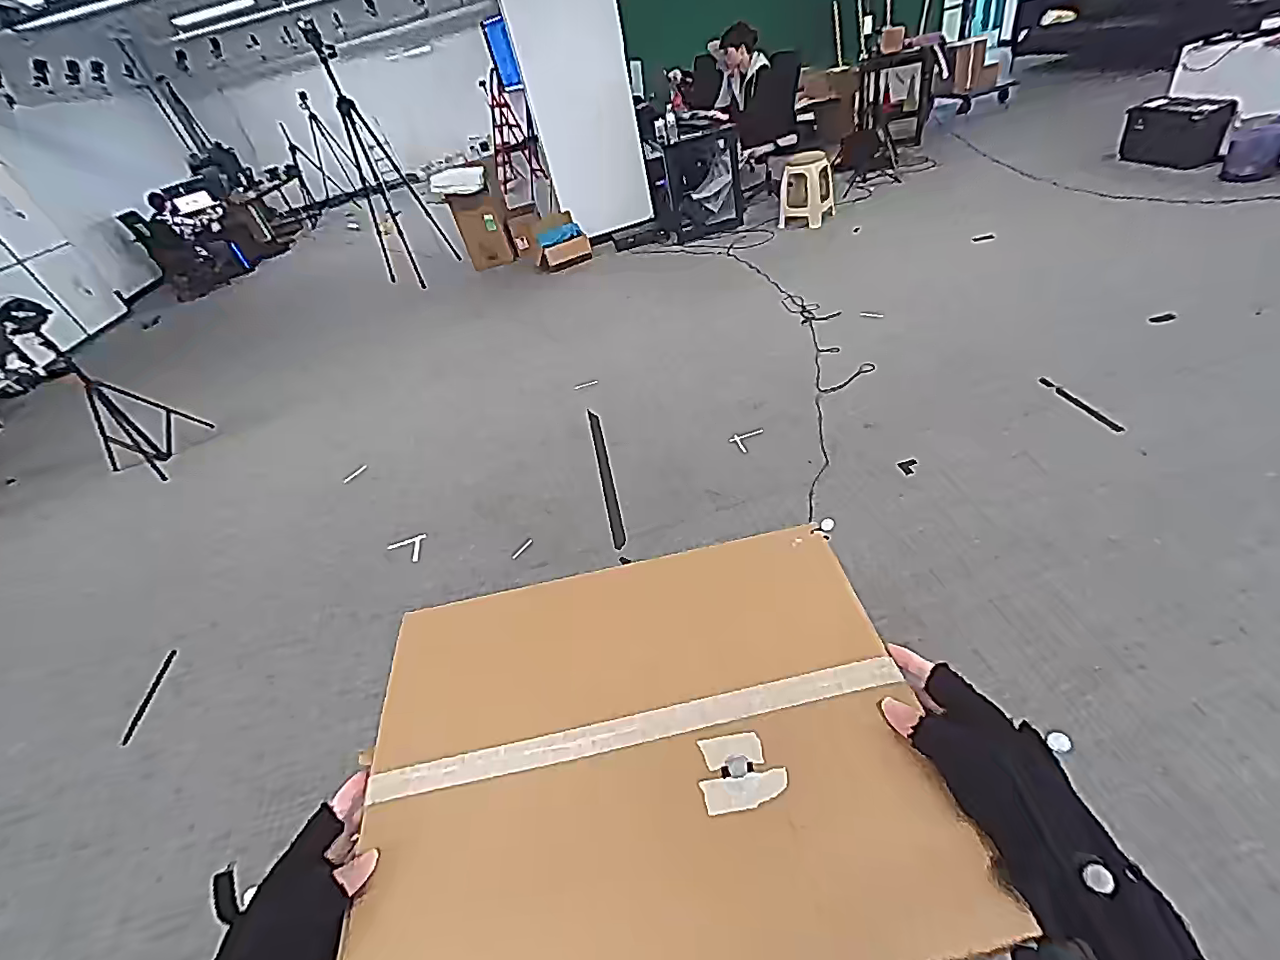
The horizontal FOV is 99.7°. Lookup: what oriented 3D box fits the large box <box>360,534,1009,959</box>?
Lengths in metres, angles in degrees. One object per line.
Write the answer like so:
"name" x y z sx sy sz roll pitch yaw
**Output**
"large box" 0.021 0.303 0.518 0.408 0.320 0.320 -12 43 -1
